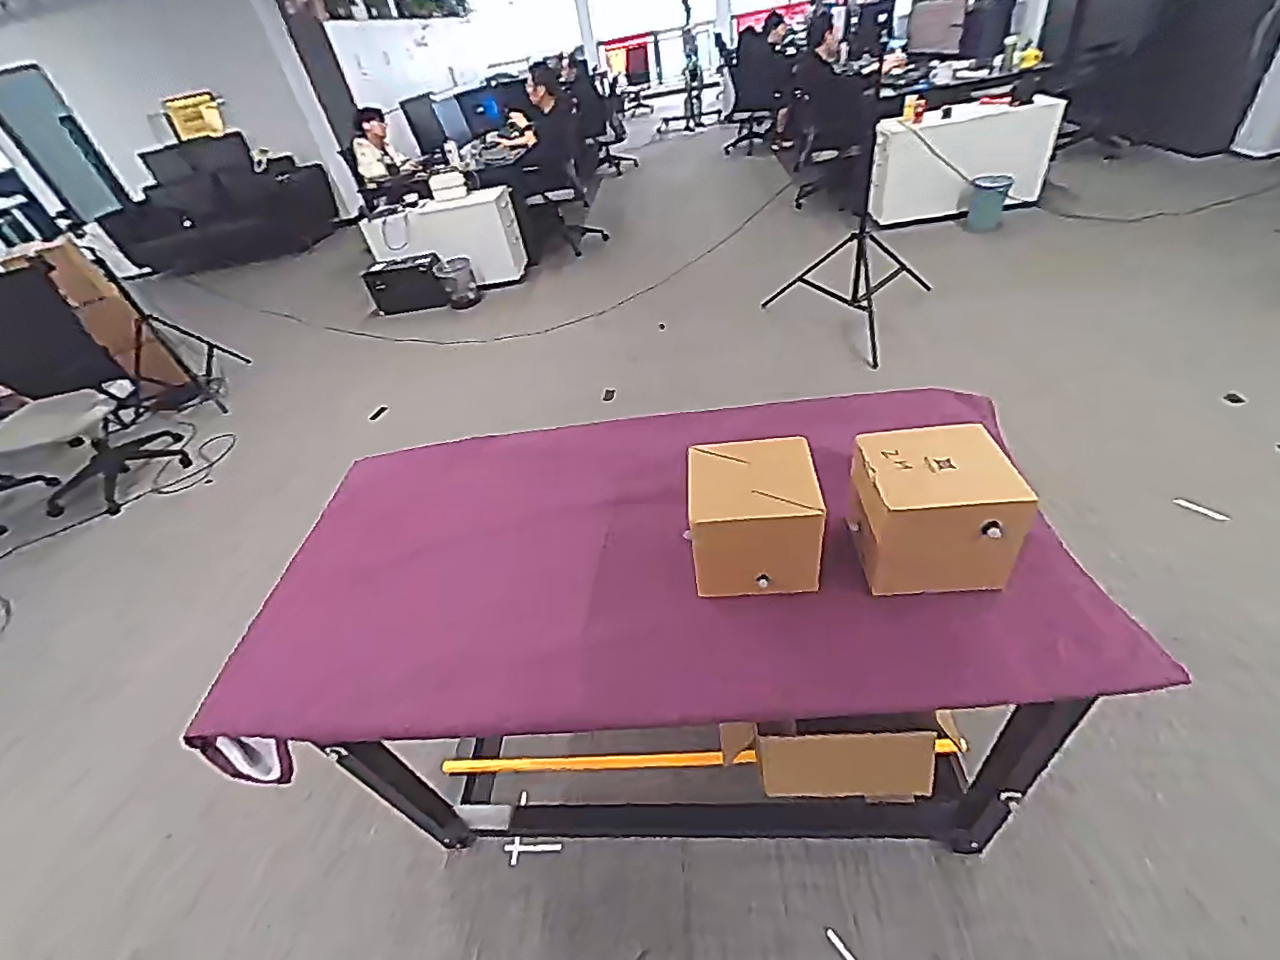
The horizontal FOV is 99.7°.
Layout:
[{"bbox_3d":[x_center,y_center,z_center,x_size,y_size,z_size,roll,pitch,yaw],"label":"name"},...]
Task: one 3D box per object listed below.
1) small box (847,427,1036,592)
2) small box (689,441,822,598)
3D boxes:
[{"bbox_3d":[0.409,0.044,0.771,0.179,0.176,0.168,-5,38,8],"label":"small box"},{"bbox_3d":[0.168,0.057,0.815,0.179,0.176,0.168,-6,39,9],"label":"small box"}]
